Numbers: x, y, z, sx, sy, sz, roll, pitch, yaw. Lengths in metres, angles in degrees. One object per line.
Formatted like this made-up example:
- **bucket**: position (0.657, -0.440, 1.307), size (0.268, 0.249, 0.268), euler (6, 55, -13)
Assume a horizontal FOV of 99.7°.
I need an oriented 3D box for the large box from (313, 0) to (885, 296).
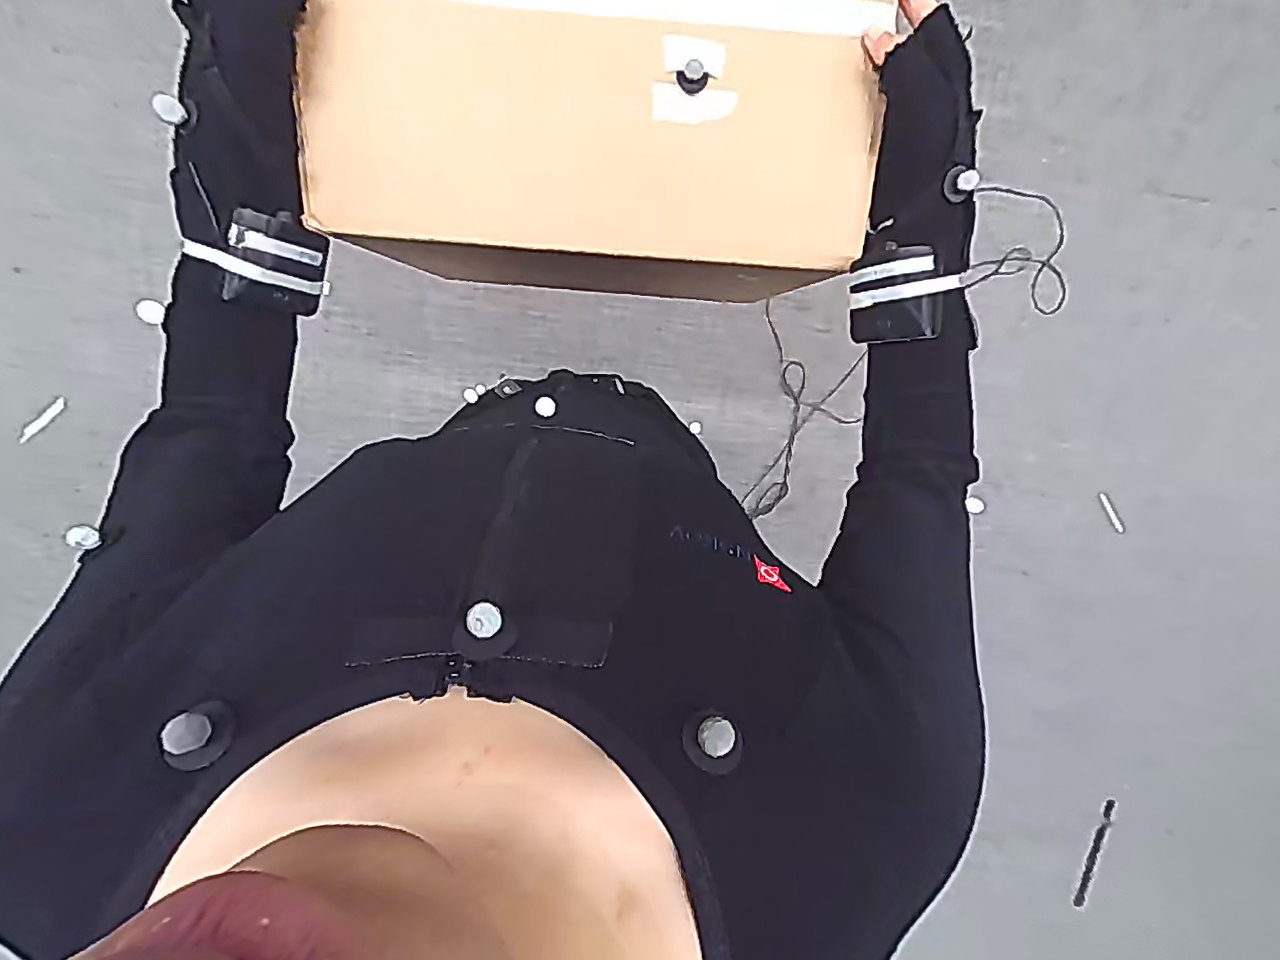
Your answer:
- **large box**: position (-0.033, -0.362, 0.522), size (0.408, 0.320, 0.320), euler (3, 104, -3)
